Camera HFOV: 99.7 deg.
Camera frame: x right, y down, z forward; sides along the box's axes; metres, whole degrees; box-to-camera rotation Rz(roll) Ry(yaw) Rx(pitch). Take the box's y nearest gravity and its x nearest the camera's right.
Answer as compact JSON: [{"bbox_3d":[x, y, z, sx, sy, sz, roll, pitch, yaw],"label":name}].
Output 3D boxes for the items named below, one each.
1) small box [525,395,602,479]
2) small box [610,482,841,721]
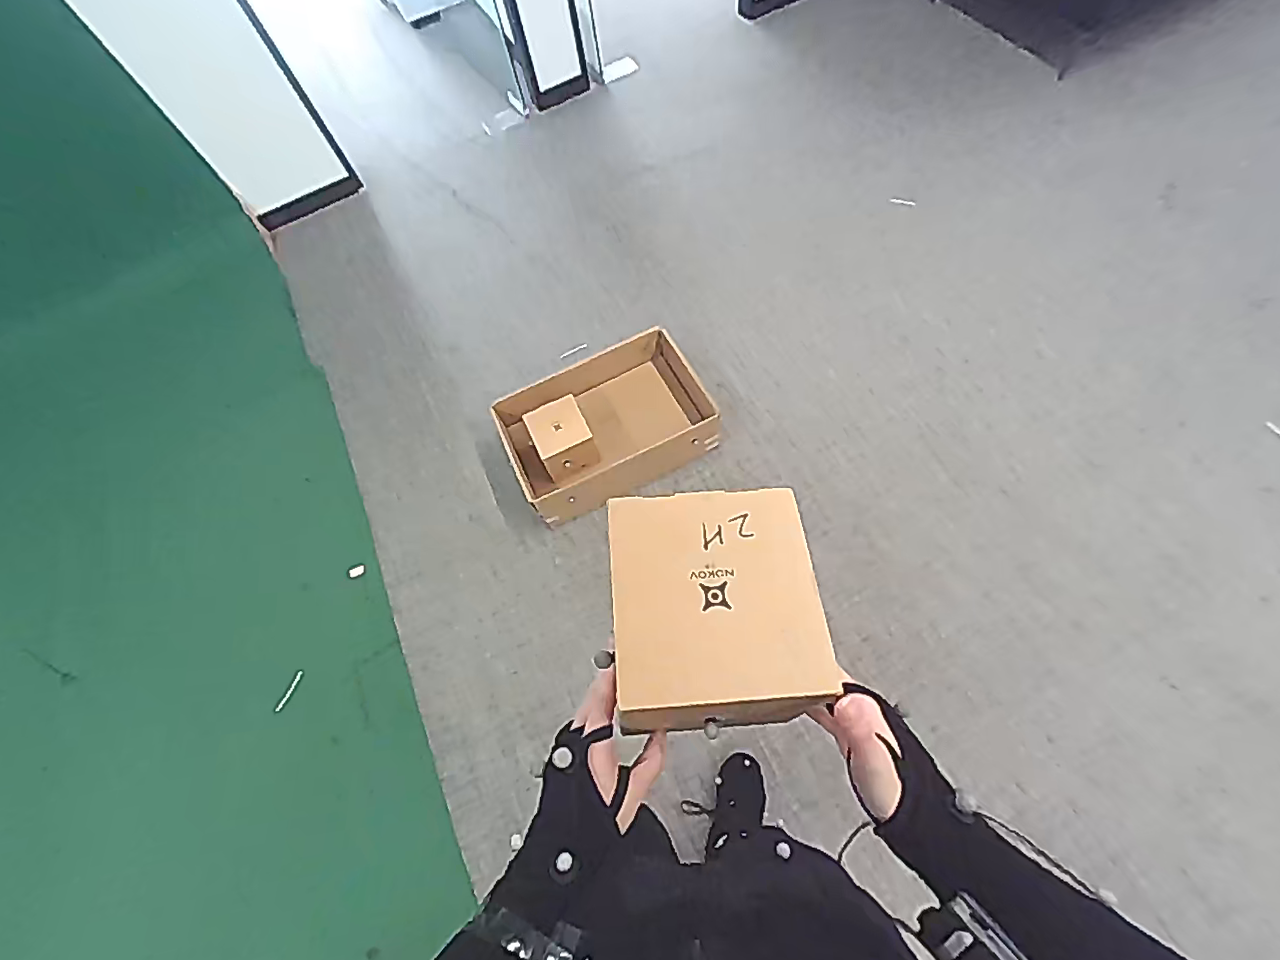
[{"bbox_3d":[-0.231,-0.124,1.670,0.168,0.176,0.179,-25,63,-6],"label":"small box"},{"bbox_3d":[0.060,0.119,0.497,0.168,0.176,0.179,-2,60,-3],"label":"small box"}]
